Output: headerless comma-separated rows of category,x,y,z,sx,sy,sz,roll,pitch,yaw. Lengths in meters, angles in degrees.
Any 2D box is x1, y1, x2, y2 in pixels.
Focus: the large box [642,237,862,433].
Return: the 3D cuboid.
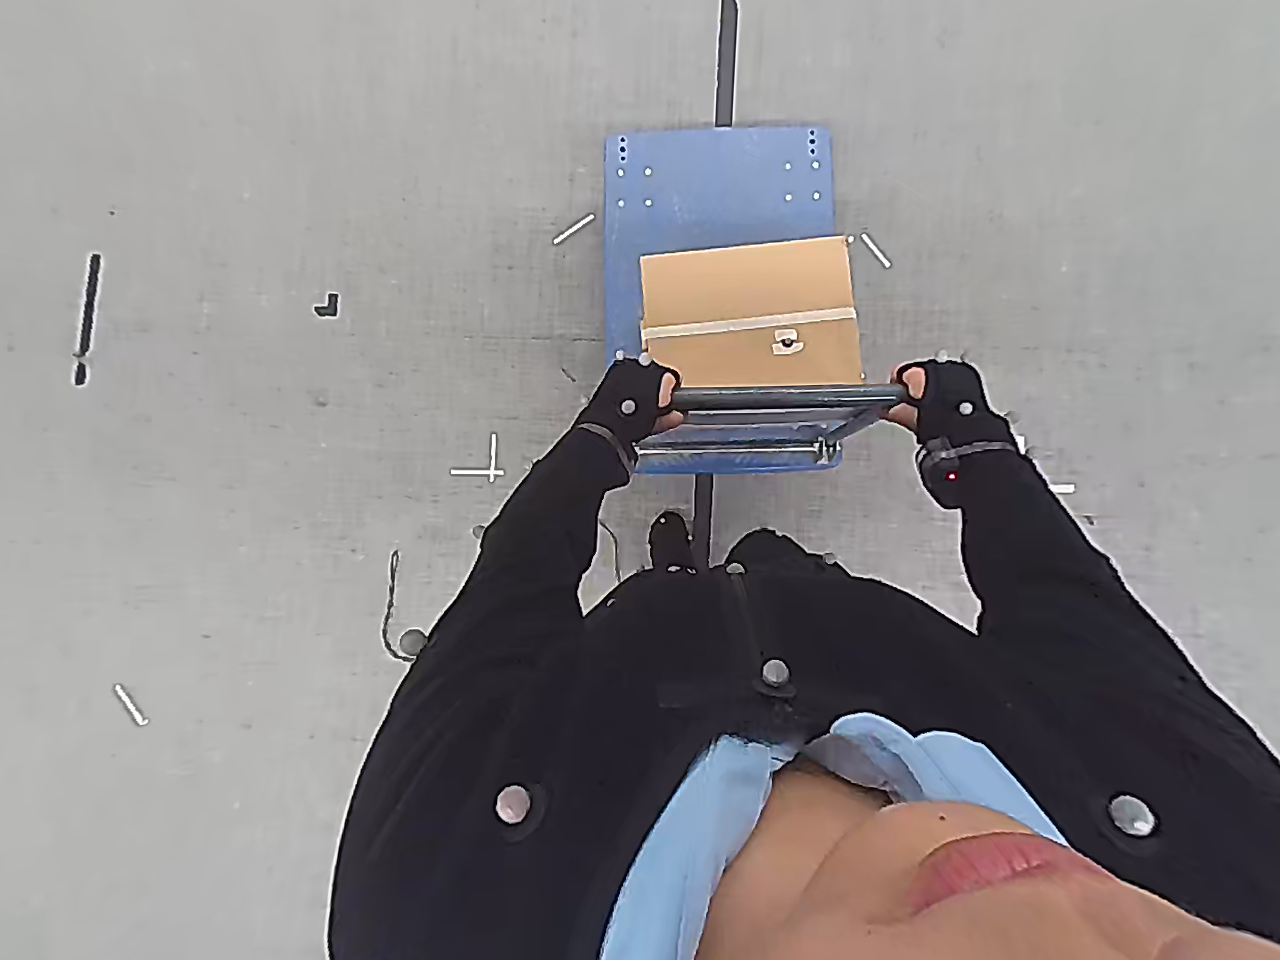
large box,0.221,-0.297,1.204,0.408,0.320,0.320,-5,88,2
